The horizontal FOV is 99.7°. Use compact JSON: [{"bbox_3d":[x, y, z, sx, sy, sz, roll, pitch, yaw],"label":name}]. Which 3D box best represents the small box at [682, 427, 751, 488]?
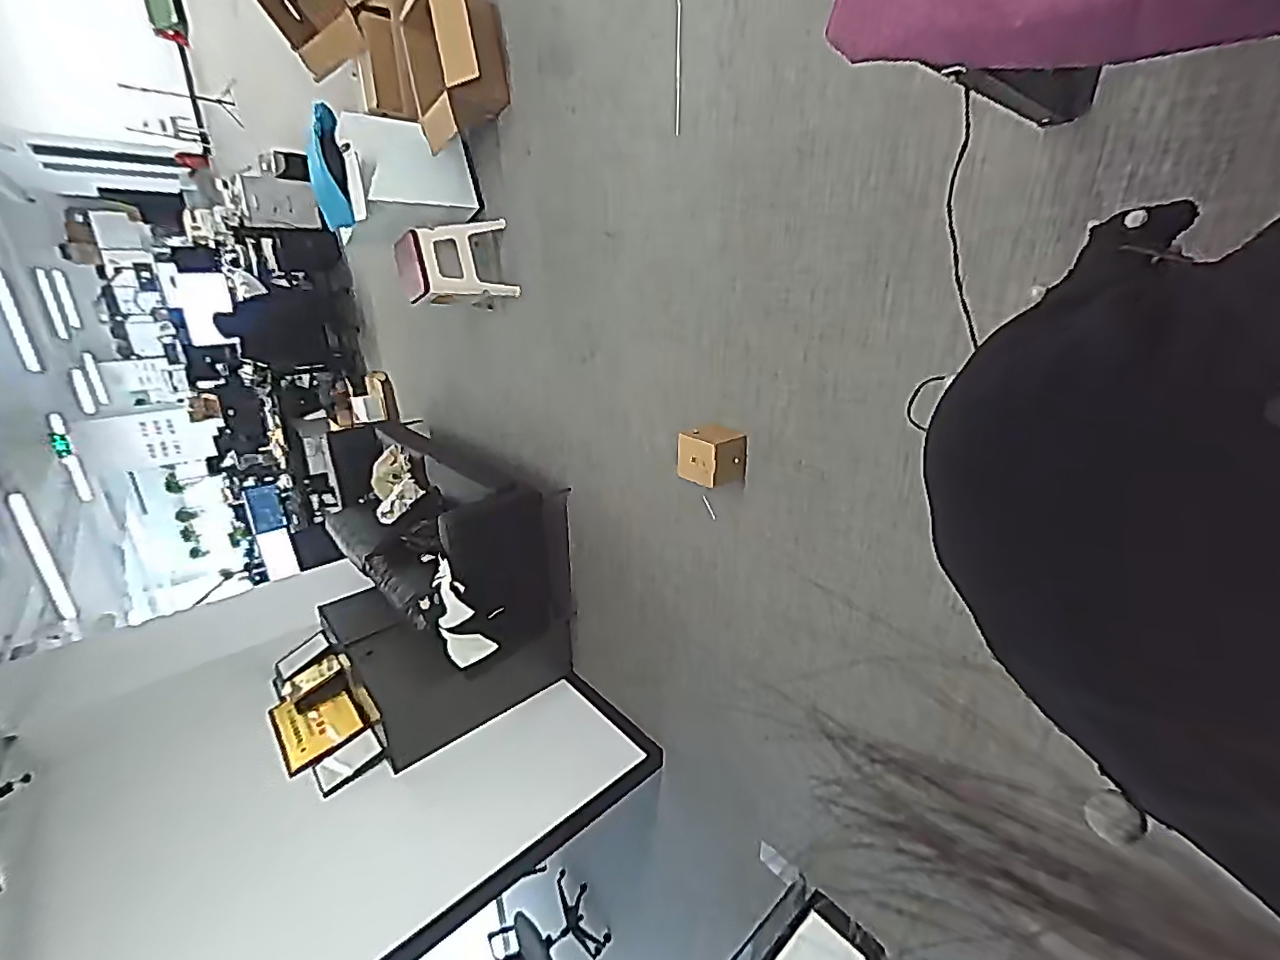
[{"bbox_3d":[0.274,-0.088,1.949,0.179,0.176,0.168,23,122,44],"label":"small box"}]
